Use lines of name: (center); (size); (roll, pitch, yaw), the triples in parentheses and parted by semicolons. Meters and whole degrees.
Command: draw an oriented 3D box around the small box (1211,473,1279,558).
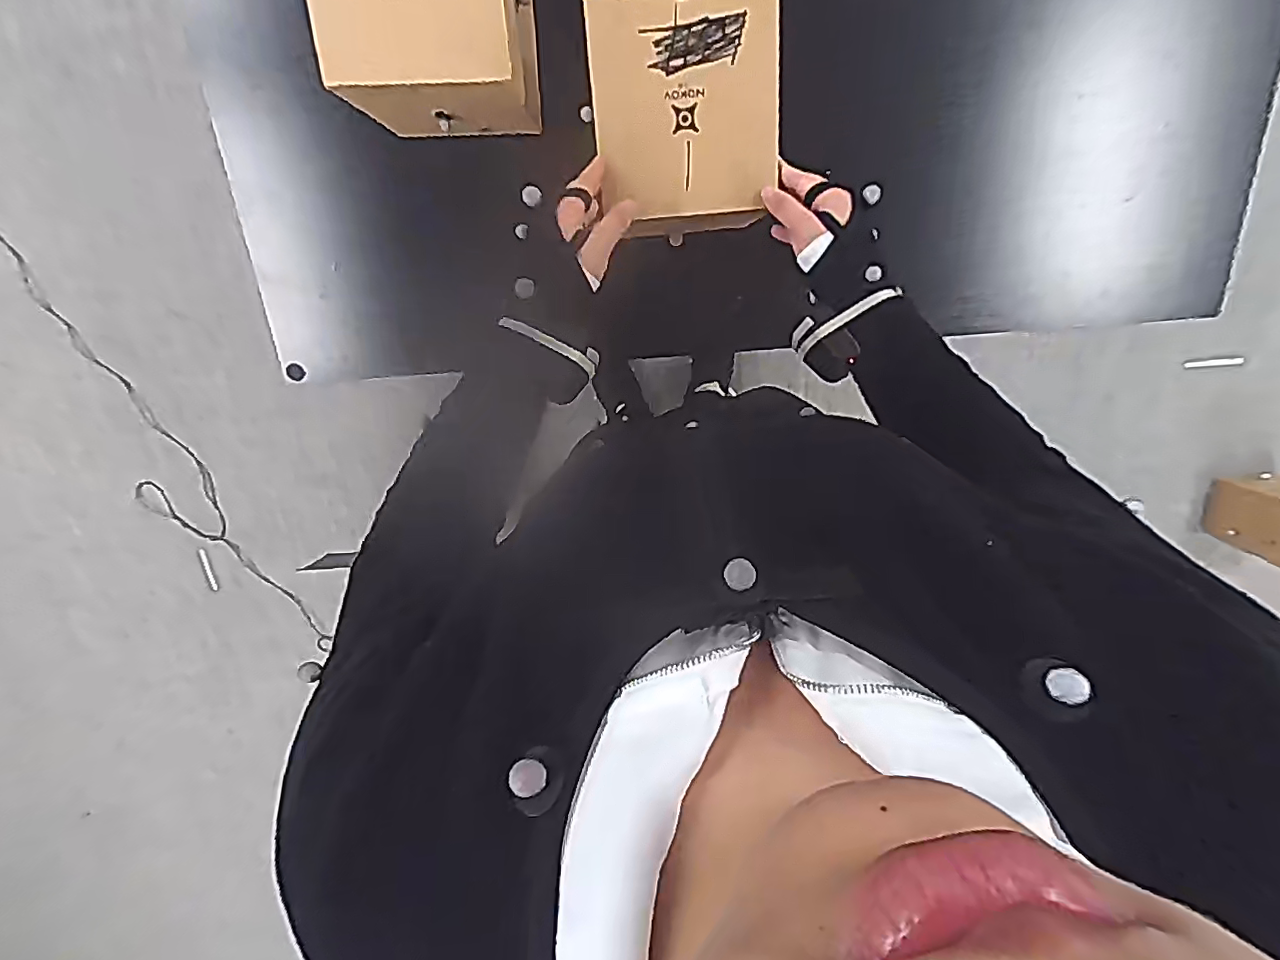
small box: (1.734, 0.094, 1.476); (0.168, 0.176, 0.179); (-5, 108, 1)

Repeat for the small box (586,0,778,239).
small box: (0.039, -0.355, 0.553); (0.168, 0.176, 0.179); (-5, 109, 2)

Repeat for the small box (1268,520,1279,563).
small box: (1.732, 0.150, 1.322); (0.179, 0.176, 0.168); (-7, 109, 1)

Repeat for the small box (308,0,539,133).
small box: (-0.197, -0.452, 0.520); (0.168, 0.176, 0.179); (-2, 109, 0)
